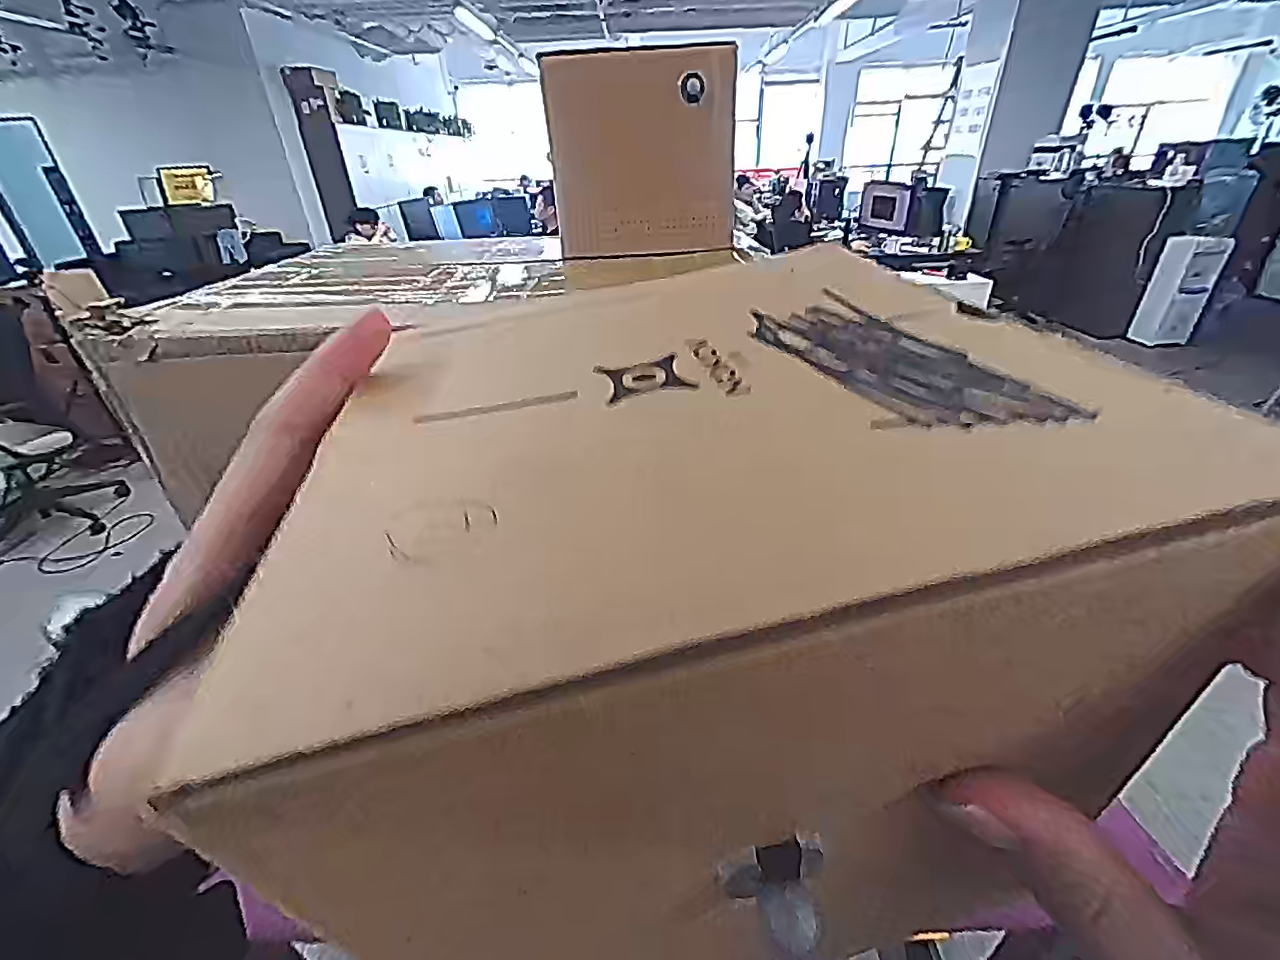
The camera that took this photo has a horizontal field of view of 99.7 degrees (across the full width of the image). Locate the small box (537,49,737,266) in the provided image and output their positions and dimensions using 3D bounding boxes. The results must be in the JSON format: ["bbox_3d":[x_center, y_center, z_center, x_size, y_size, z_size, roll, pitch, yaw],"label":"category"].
[{"bbox_3d":[0.002,-0.326,0.568,0.179,0.176,0.168,-3,30,1],"label":"small box"}]
